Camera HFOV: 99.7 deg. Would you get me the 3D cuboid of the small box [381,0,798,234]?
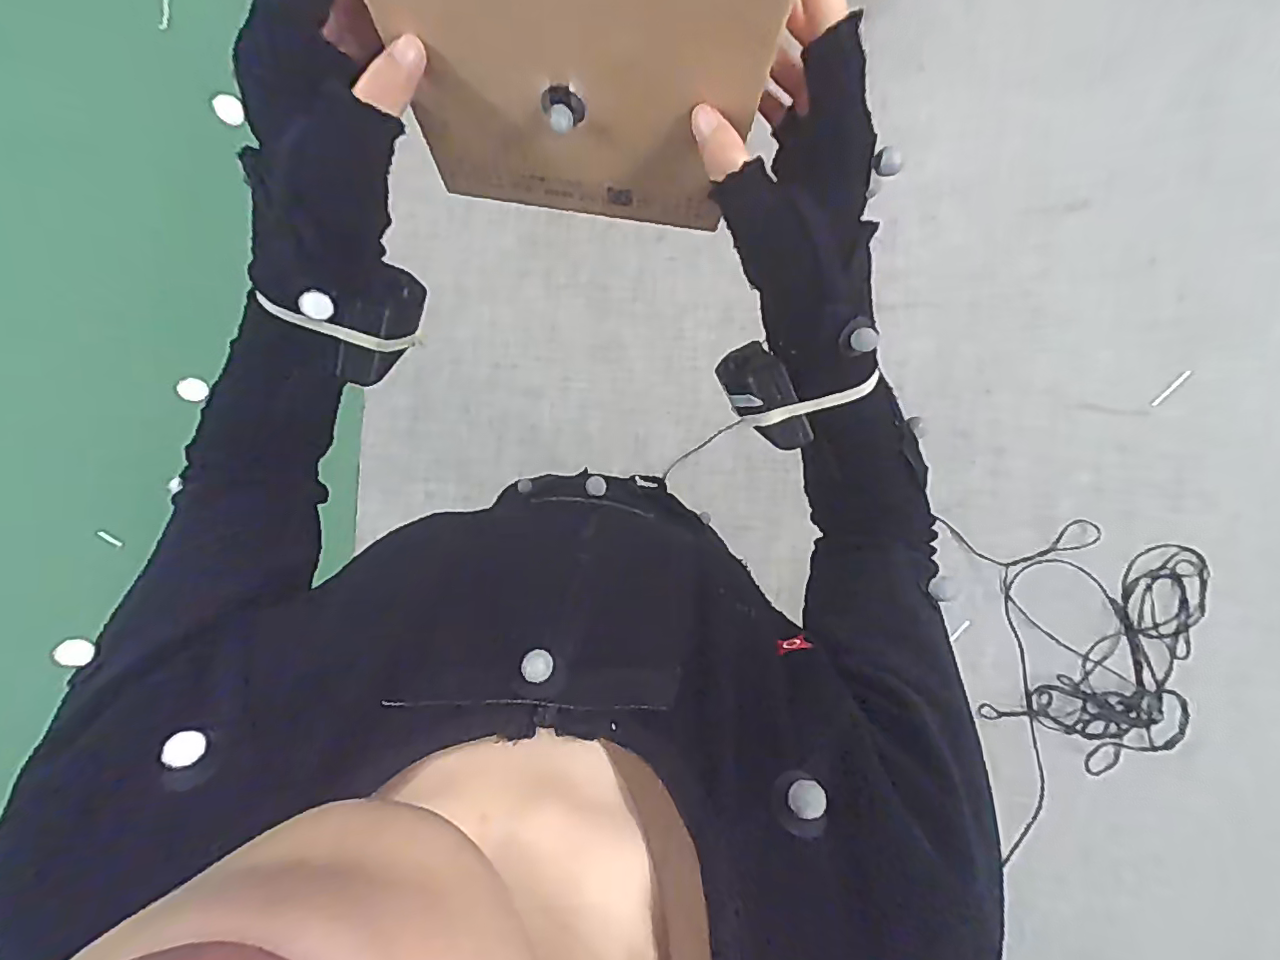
[{"bbox_3d":[-0.014,-0.251,0.262,0.168,0.176,0.179,7,80,-4],"label":"small box"}]
